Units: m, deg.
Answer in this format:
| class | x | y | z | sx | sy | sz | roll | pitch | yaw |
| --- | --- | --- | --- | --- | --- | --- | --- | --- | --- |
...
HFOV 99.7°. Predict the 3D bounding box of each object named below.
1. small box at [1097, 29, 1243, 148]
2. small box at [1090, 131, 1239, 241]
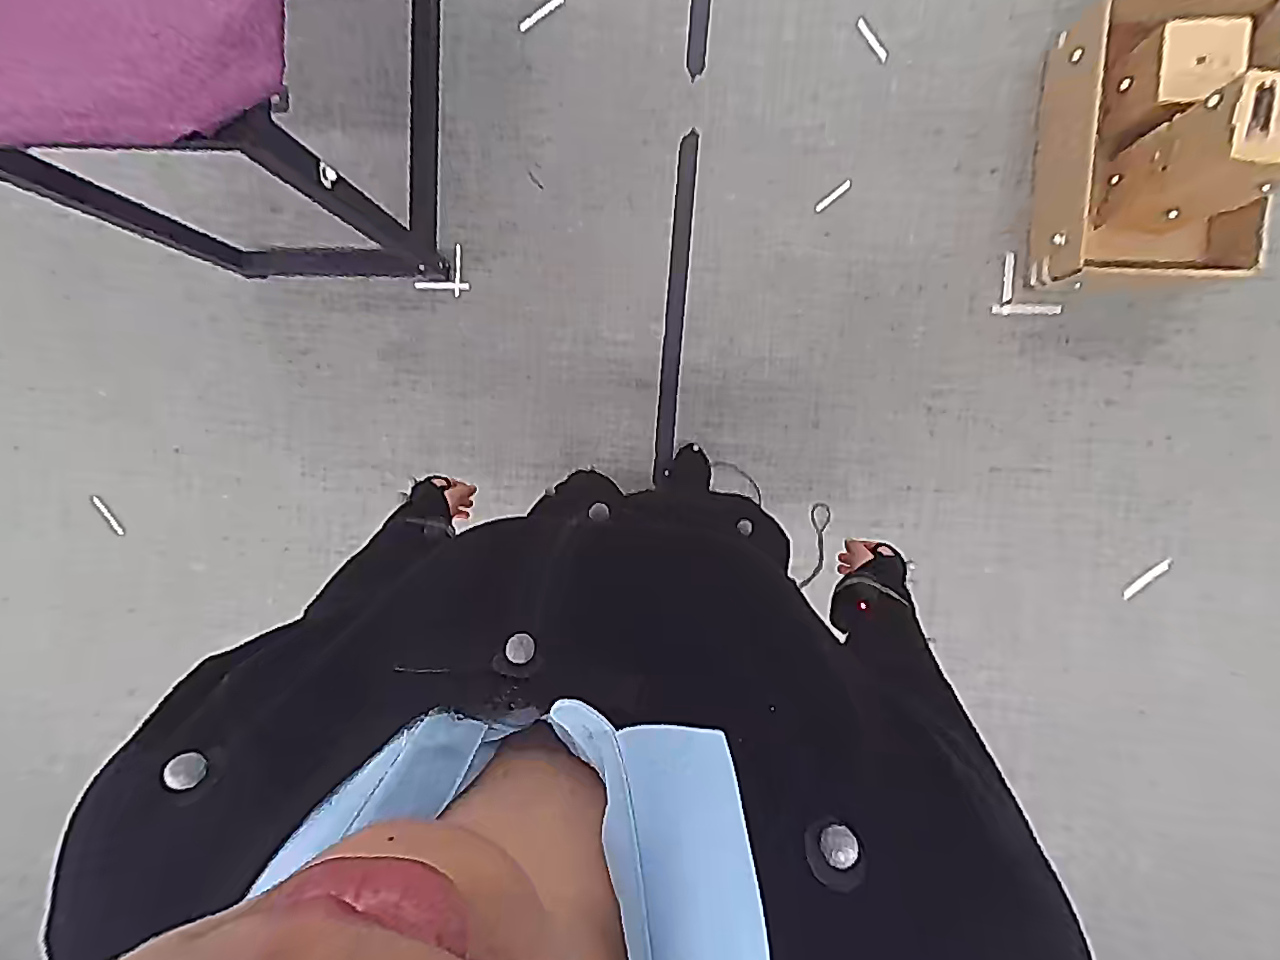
| class | x | y | z | sx | sy | sz | roll | pitch | yaw |
| --- | --- | --- | --- | --- | --- | --- | --- | --- | --- |
| small box | 1.211 | -0.895 | 1.251 | 0.179 | 0.176 | 0.168 | 1 | 96 | 3 |
| small box | 1.220 | -0.679 | 1.269 | 0.179 | 0.176 | 0.168 | 7 | 92 | 3 |
